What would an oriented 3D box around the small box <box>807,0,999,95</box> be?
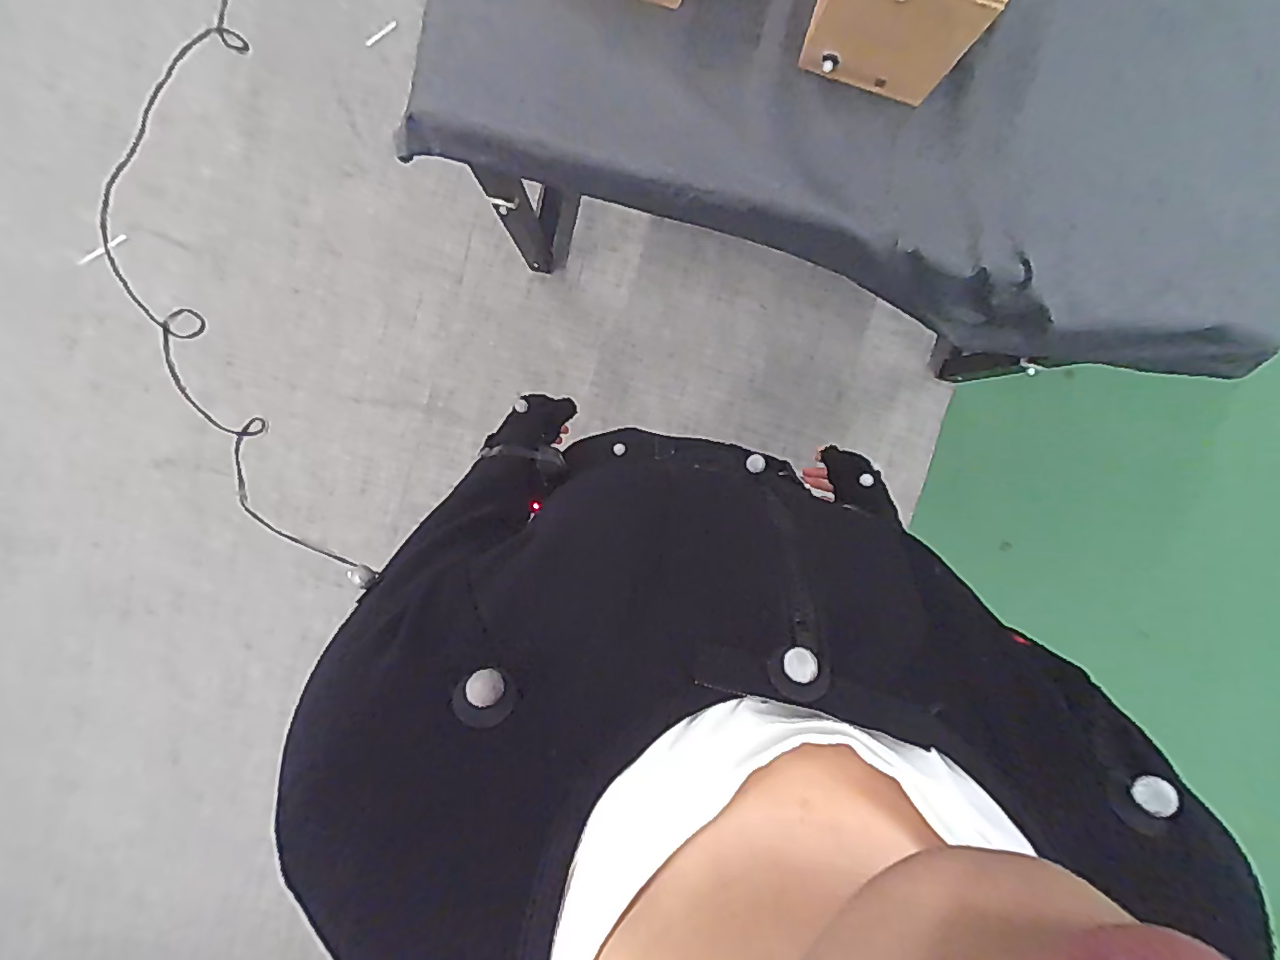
[{"bbox_3d":[0.306,-0.586,0.608,0.168,0.176,0.179,16,94,-3],"label":"small box"}]
